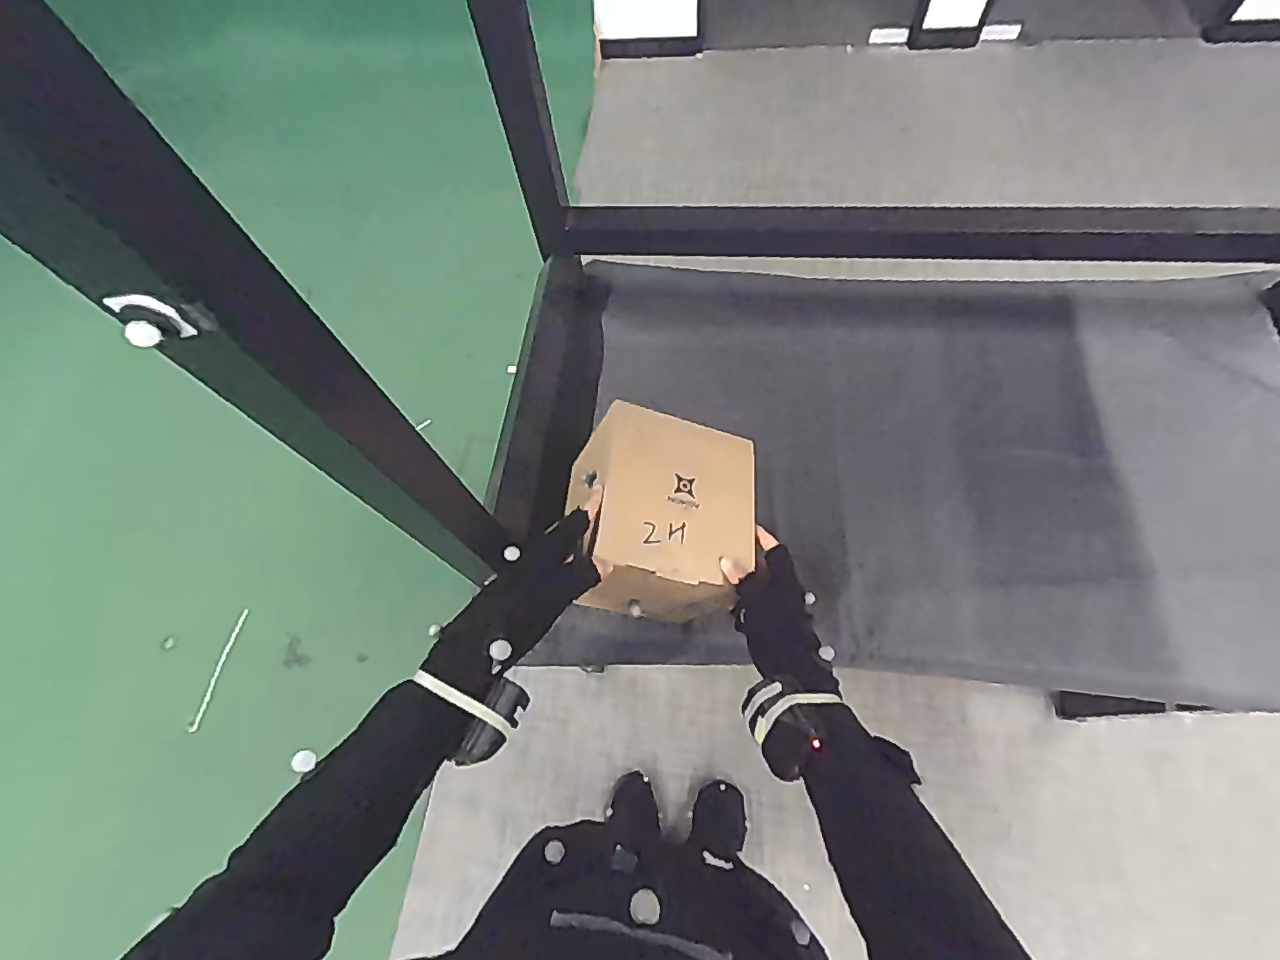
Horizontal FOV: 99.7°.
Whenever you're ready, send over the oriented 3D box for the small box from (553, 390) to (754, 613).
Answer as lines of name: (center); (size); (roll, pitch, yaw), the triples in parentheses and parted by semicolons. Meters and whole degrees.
small box: (0.011, 0.035, 0.603); (0.168, 0.176, 0.179); (15, 61, -18)
